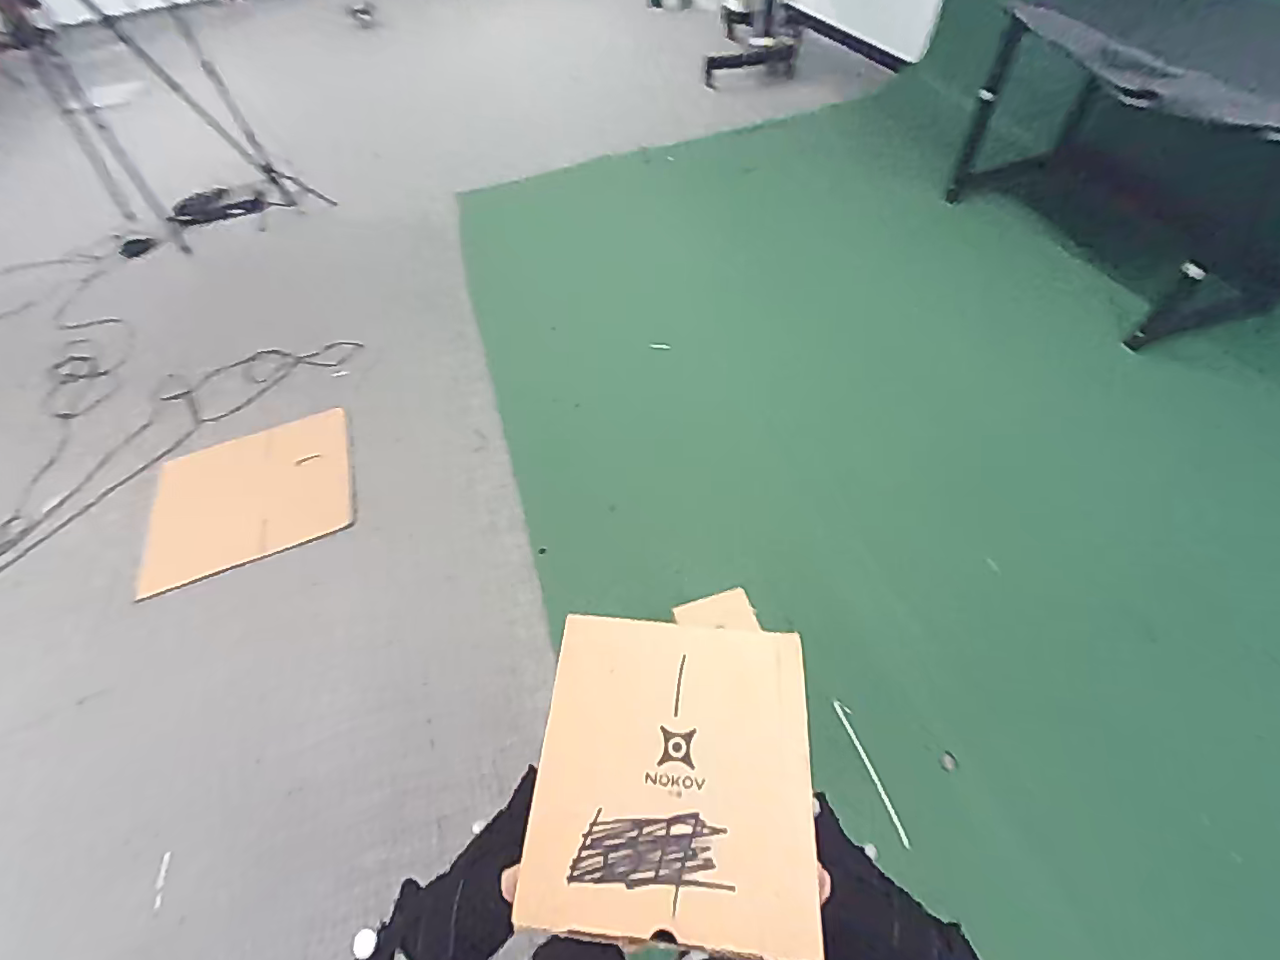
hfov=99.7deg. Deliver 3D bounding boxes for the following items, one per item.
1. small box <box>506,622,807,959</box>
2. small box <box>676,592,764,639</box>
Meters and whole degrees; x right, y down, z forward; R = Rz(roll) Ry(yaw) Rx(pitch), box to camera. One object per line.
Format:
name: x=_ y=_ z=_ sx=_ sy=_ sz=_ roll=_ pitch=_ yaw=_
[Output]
small box: x=0.018 y=0.223 z=0.397 sx=0.168 sy=0.176 sz=0.179 roll=3 pitch=54 yaw=5
small box: x=0.183 y=0.384 z=1.214 sx=0.168 sy=0.176 sz=0.179 roll=-16 pitch=53 yaw=-5
